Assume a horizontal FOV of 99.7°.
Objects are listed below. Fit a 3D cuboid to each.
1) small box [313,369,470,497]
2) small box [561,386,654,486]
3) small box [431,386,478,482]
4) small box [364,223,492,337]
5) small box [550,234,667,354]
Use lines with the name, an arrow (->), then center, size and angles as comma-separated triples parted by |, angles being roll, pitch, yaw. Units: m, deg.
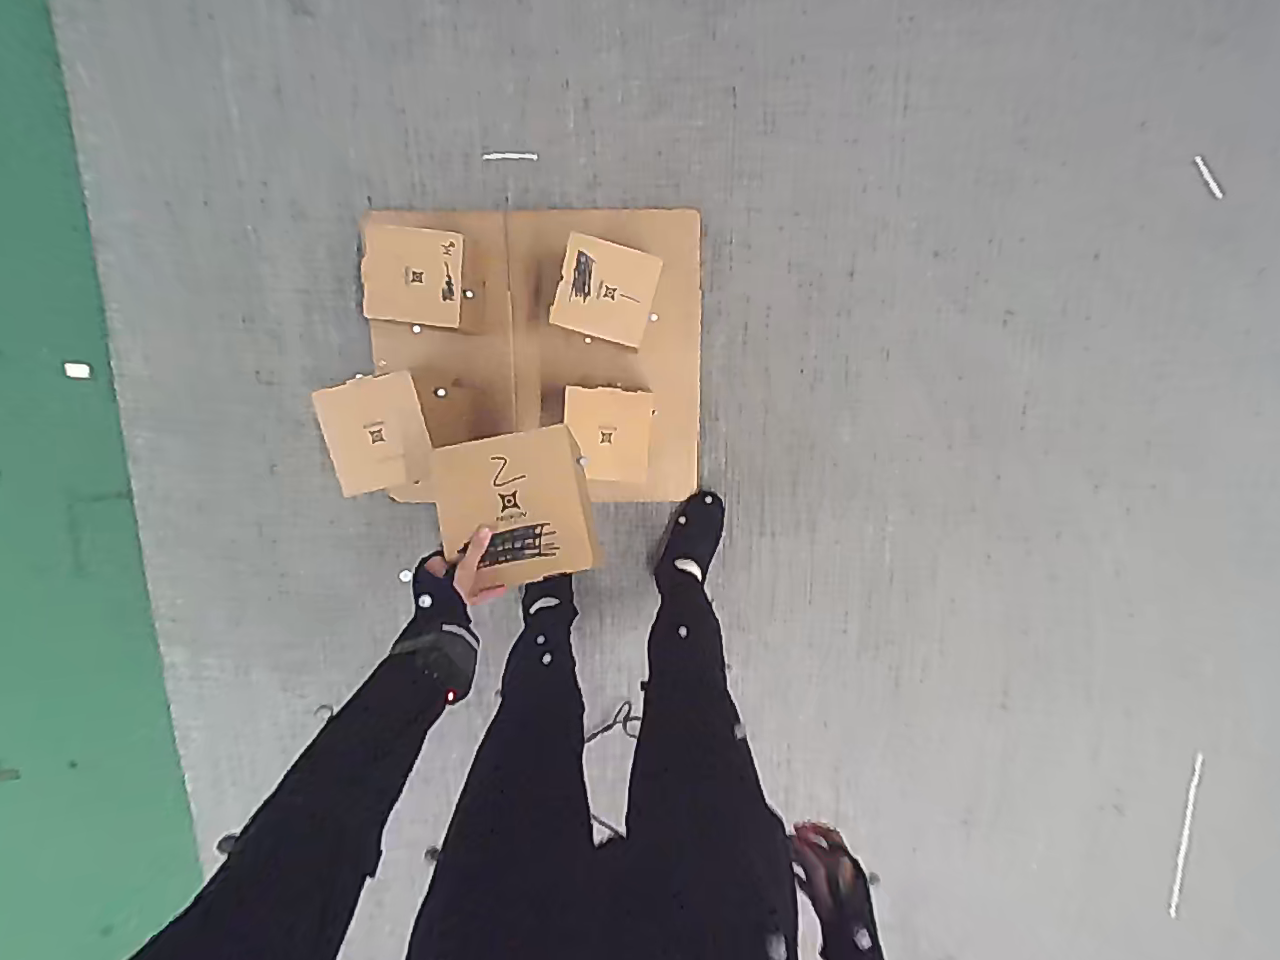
small box -> -0.410, -0.084, 0.923 | 0.168, 0.176, 0.179 | -12, 100, 2
small box -> -0.061, -0.094, 1.088 | 0.168, 0.176, 0.179 | 4, 100, -2
small box -> -0.432, -0.102, 1.086 | 0.168, 0.176, 0.179 | 5, 100, -2
small box -> -0.400, -0.373, 1.038 | 0.179, 0.176, 0.168 | 7, 100, -1
small box -> -0.059, -0.346, 1.041 | 0.179, 0.176, 0.168 | 15, 99, -5
